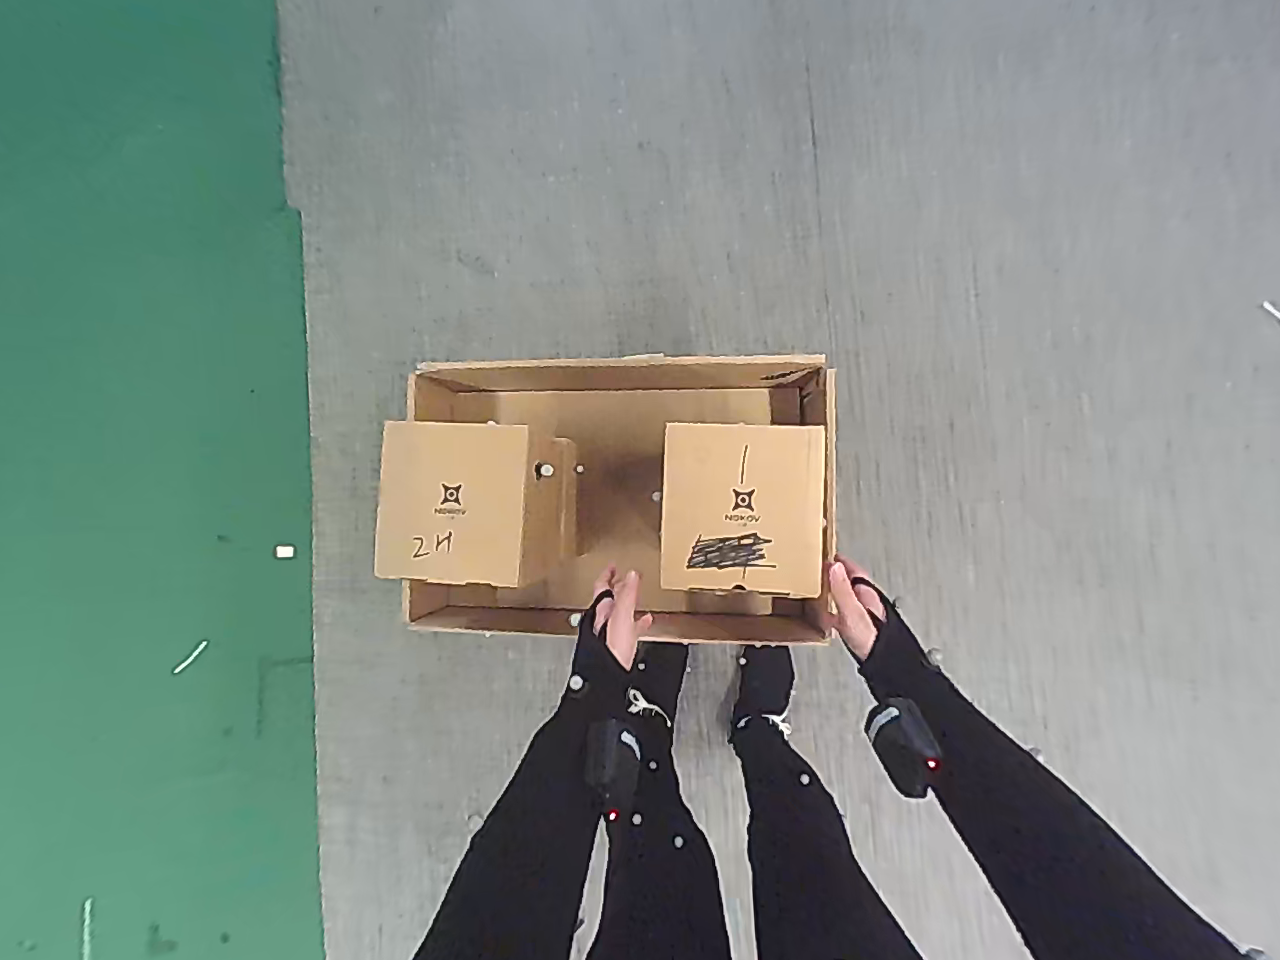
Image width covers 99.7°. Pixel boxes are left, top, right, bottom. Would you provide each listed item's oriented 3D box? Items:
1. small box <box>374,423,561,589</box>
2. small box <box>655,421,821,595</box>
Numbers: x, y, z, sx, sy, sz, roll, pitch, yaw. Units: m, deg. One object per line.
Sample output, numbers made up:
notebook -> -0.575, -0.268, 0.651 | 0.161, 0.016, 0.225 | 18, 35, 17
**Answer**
small box -> -0.197, 0.030, 0.663 | 0.168, 0.176, 0.179 | 2, 88, 6
small box -> 0.109, 0.030, 0.633 | 0.168, 0.176, 0.179 | 1, 87, 5
